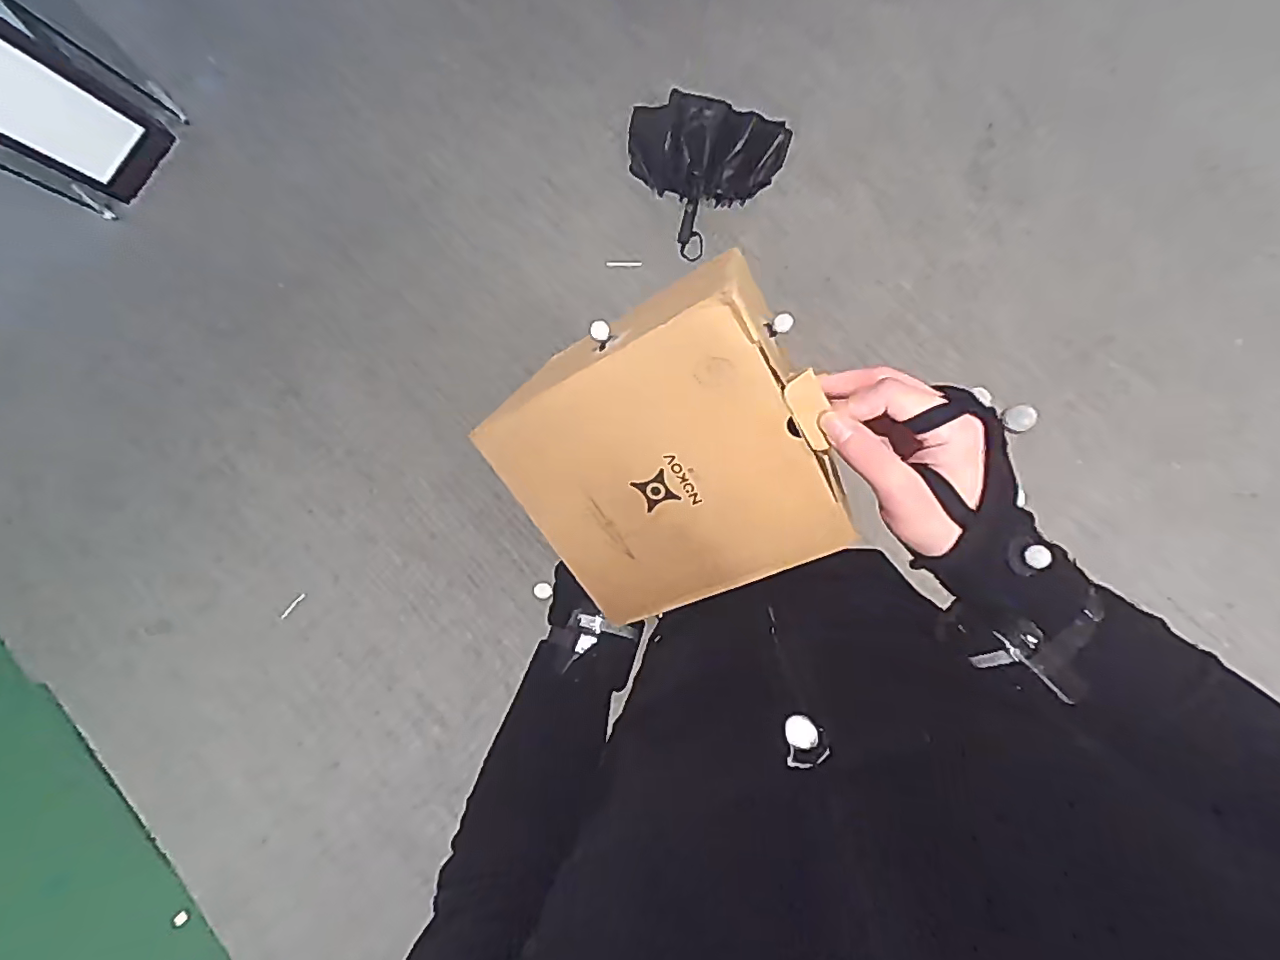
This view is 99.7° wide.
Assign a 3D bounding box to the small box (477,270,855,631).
[{"bbox_3d":[0.026,-0.029,0.388,0.179,0.176,0.168,-25,109,23],"label":"small box"}]
